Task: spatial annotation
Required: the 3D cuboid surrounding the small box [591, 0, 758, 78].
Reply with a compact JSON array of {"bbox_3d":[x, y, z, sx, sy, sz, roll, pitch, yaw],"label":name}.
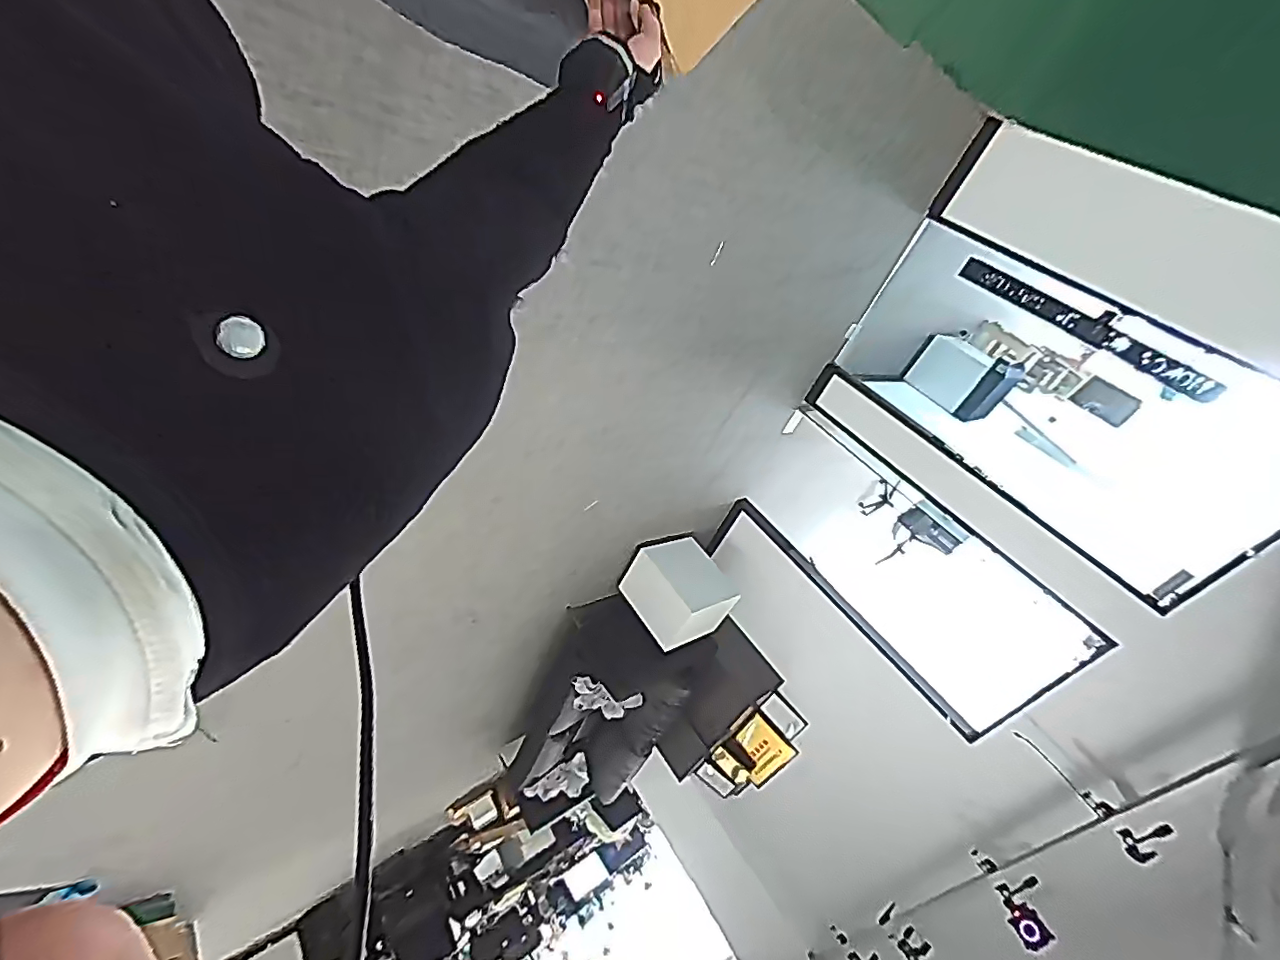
[{"bbox_3d":[0.029,-0.612,0.603,0.179,0.176,0.168,-44,154,6],"label":"small box"}]
